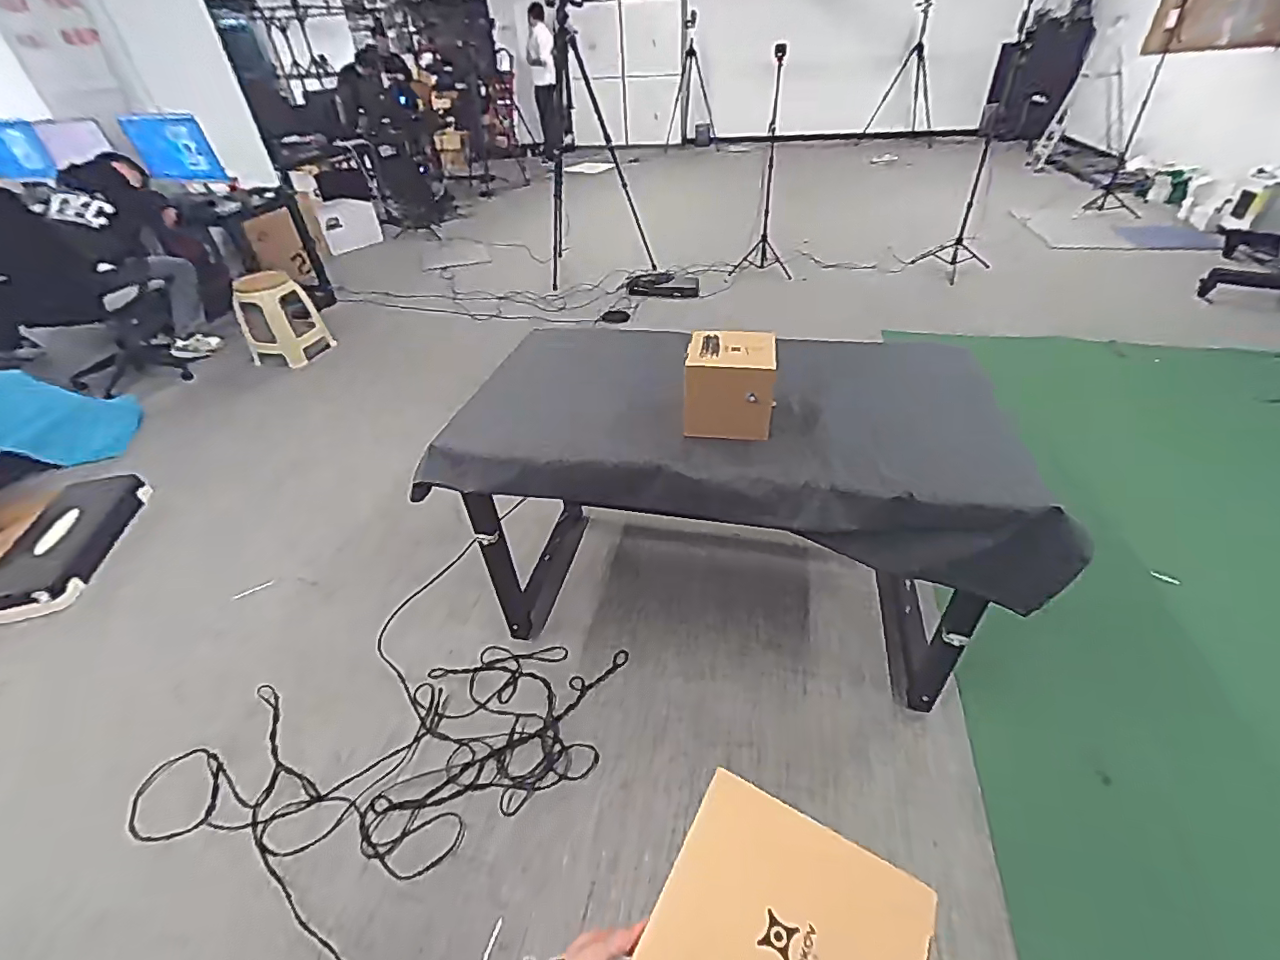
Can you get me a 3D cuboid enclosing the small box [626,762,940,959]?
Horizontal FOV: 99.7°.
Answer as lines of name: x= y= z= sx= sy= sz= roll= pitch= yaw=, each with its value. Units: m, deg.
small box: x=0.104 y=0.370 z=0.423 sx=0.179 sy=0.176 sz=0.168 roll=20 pitch=46 yaw=23
